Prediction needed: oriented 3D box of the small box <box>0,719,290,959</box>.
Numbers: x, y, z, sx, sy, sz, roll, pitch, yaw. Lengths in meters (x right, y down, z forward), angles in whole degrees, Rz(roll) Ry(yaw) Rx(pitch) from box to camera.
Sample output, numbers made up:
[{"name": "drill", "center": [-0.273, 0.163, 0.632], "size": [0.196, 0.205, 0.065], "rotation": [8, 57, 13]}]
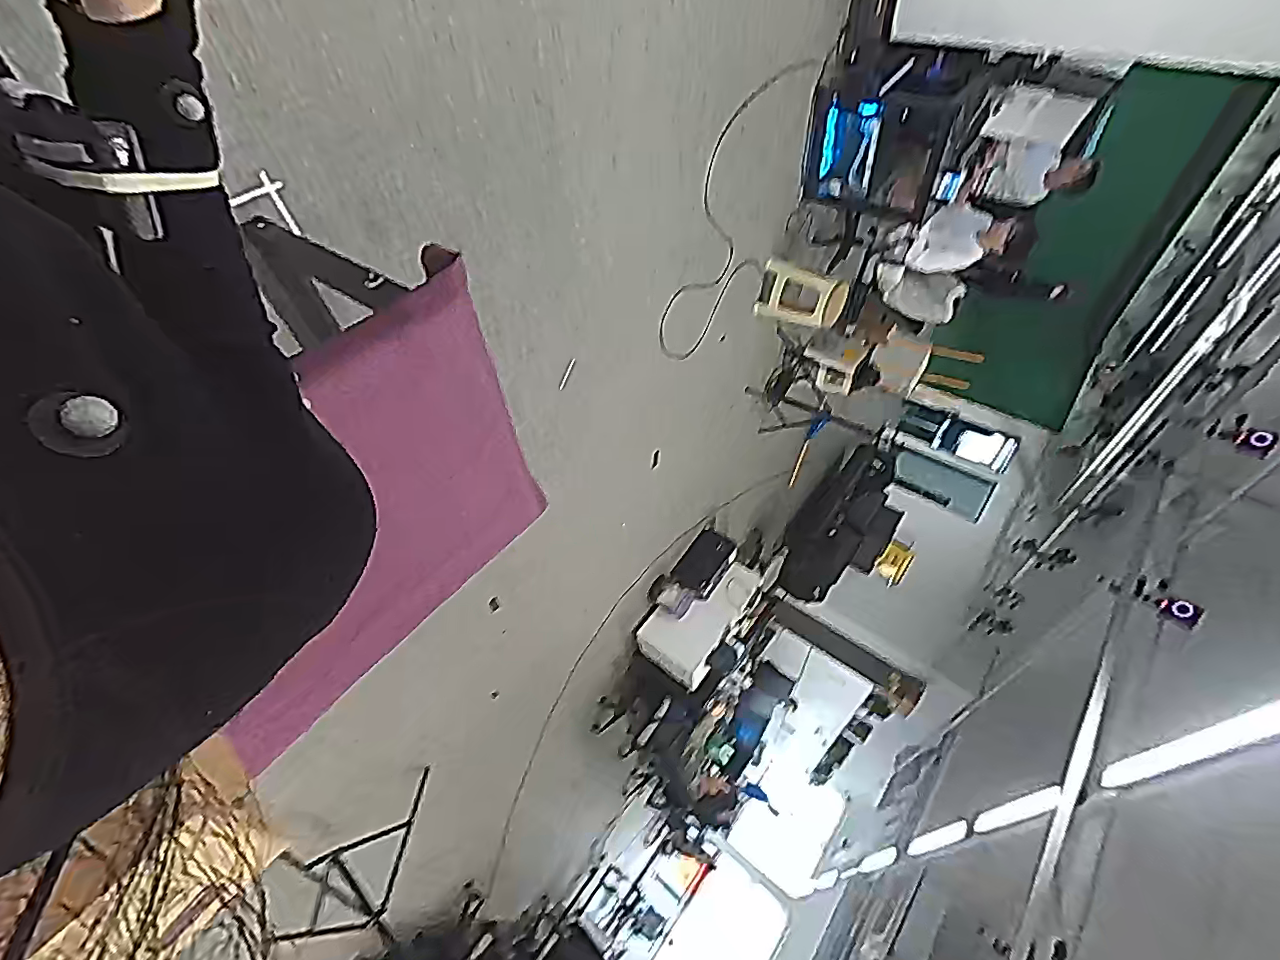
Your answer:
[{"name": "small box", "center": [-0.551, 0.406, 0.608], "size": [0.168, 0.176, 0.179], "rotation": [-44, 148, -31]}]
